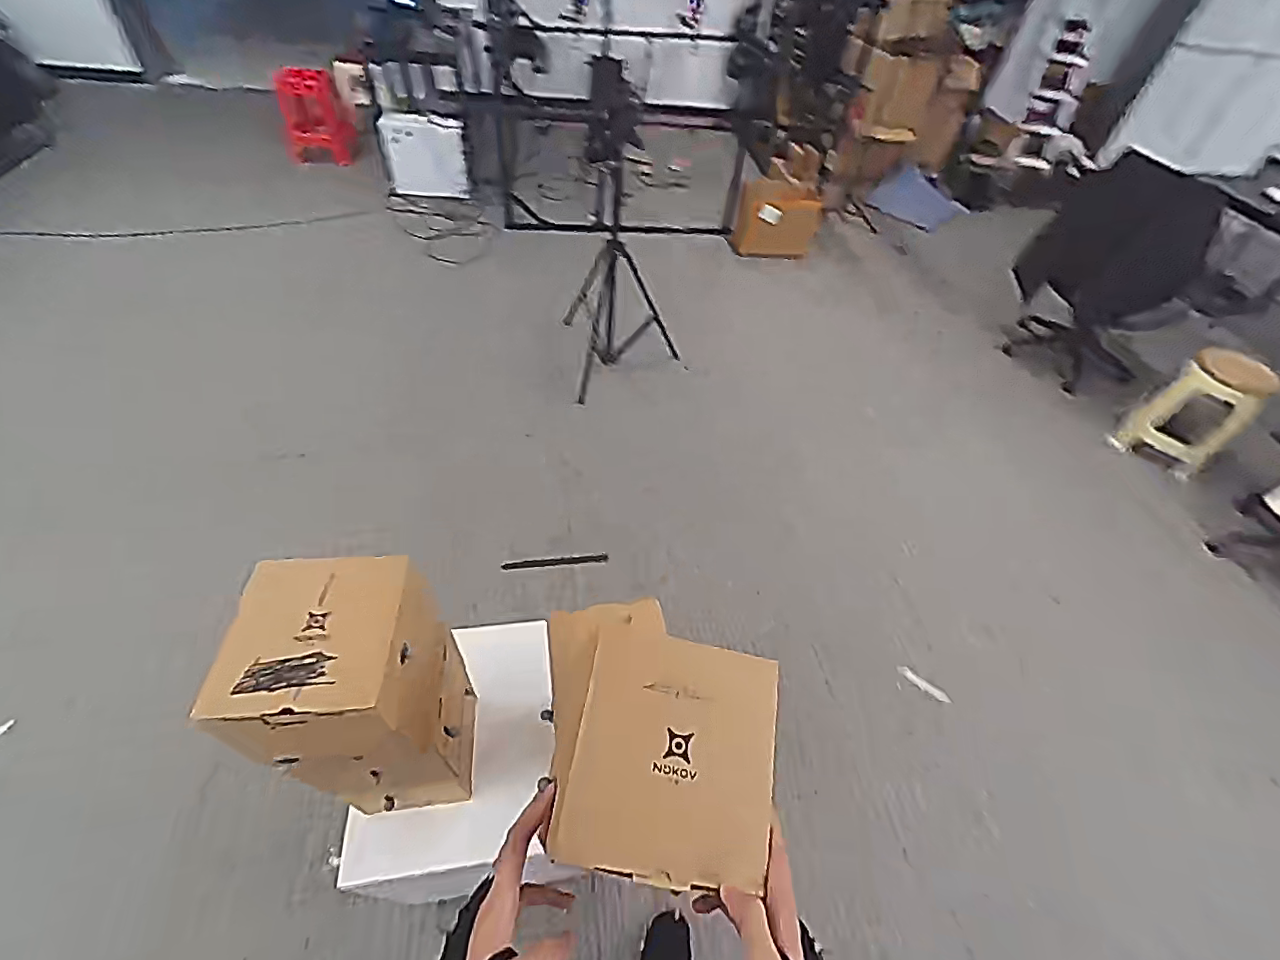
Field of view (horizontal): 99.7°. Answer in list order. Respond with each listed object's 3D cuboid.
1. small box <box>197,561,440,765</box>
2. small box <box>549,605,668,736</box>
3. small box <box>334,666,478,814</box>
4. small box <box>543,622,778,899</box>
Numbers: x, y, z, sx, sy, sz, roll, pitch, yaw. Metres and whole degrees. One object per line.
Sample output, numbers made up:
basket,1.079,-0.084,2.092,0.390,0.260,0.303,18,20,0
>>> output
small box,-0.337,0.211,0.614,0.168,0.176,0.179,0,48,-7
small box,-0.040,0.305,0.782,0.168,0.176,0.179,-5,50,-9
small box,-0.359,0.420,0.868,0.168,0.176,0.179,-2,49,-9
small box,0.011,0.251,0.499,0.168,0.176,0.179,15,60,-9
